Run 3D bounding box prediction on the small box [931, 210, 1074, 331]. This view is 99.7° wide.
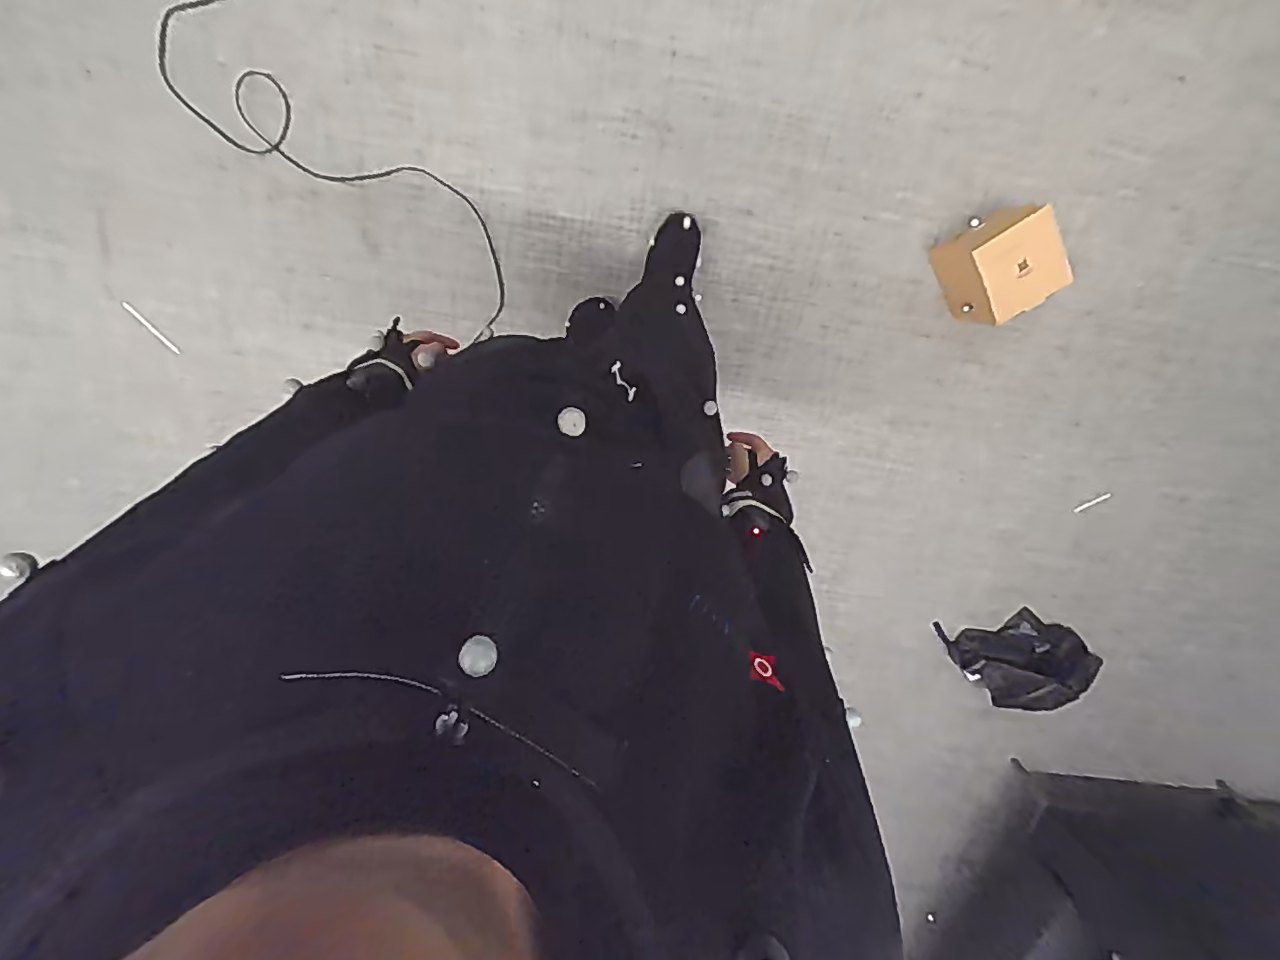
[{"bbox_3d":[0.765,-0.448,1.156,0.168,0.176,0.179,-32,110,10],"label":"small box"}]
